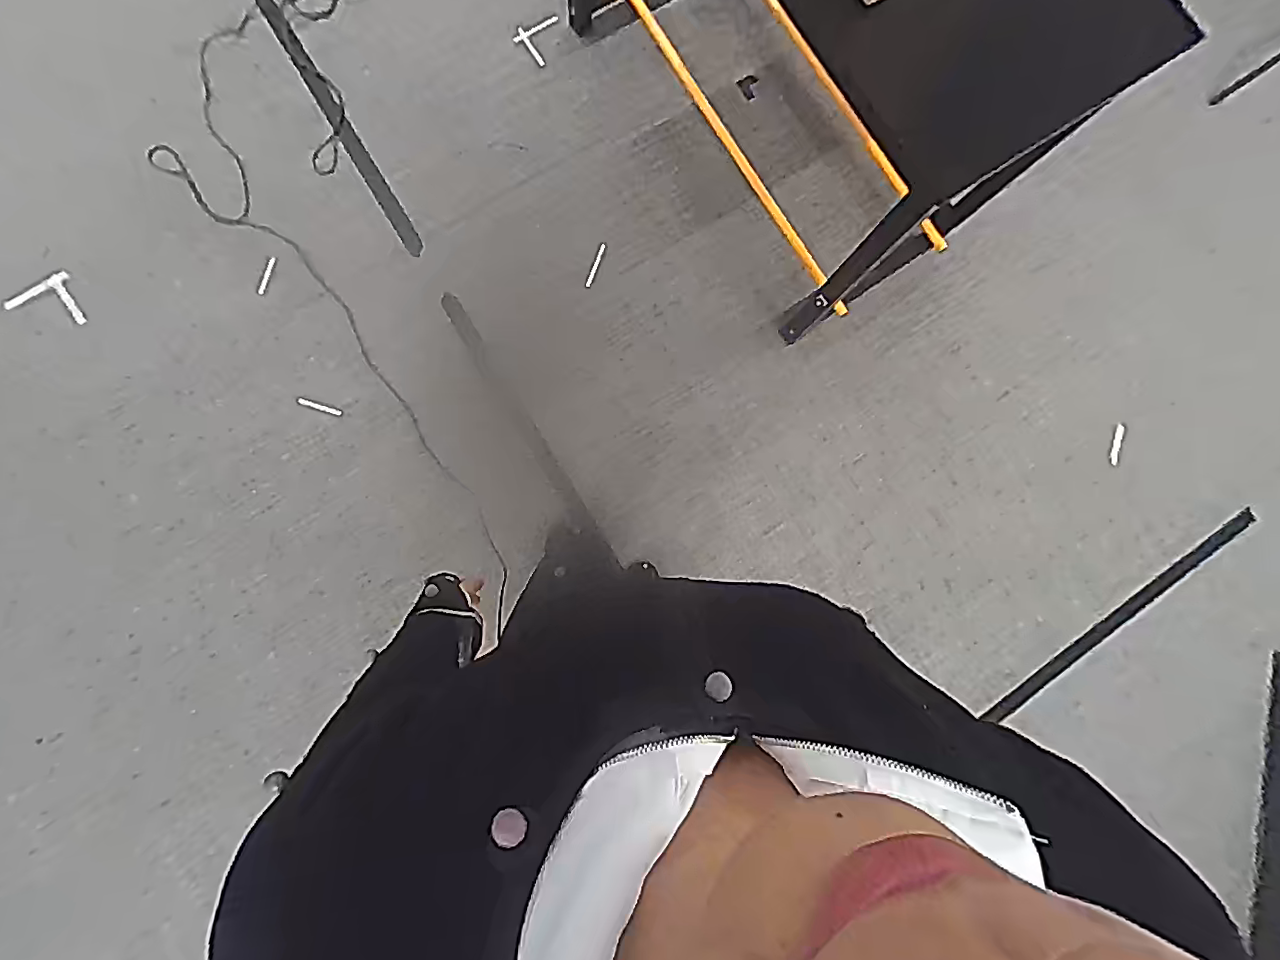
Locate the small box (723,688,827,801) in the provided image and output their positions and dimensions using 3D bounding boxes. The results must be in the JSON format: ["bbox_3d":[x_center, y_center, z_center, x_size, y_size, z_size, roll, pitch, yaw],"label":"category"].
[{"bbox_3d":[0.339,0.670,1.397,0.179,0.176,0.168,-36,88,-6],"label":"small box"}]
